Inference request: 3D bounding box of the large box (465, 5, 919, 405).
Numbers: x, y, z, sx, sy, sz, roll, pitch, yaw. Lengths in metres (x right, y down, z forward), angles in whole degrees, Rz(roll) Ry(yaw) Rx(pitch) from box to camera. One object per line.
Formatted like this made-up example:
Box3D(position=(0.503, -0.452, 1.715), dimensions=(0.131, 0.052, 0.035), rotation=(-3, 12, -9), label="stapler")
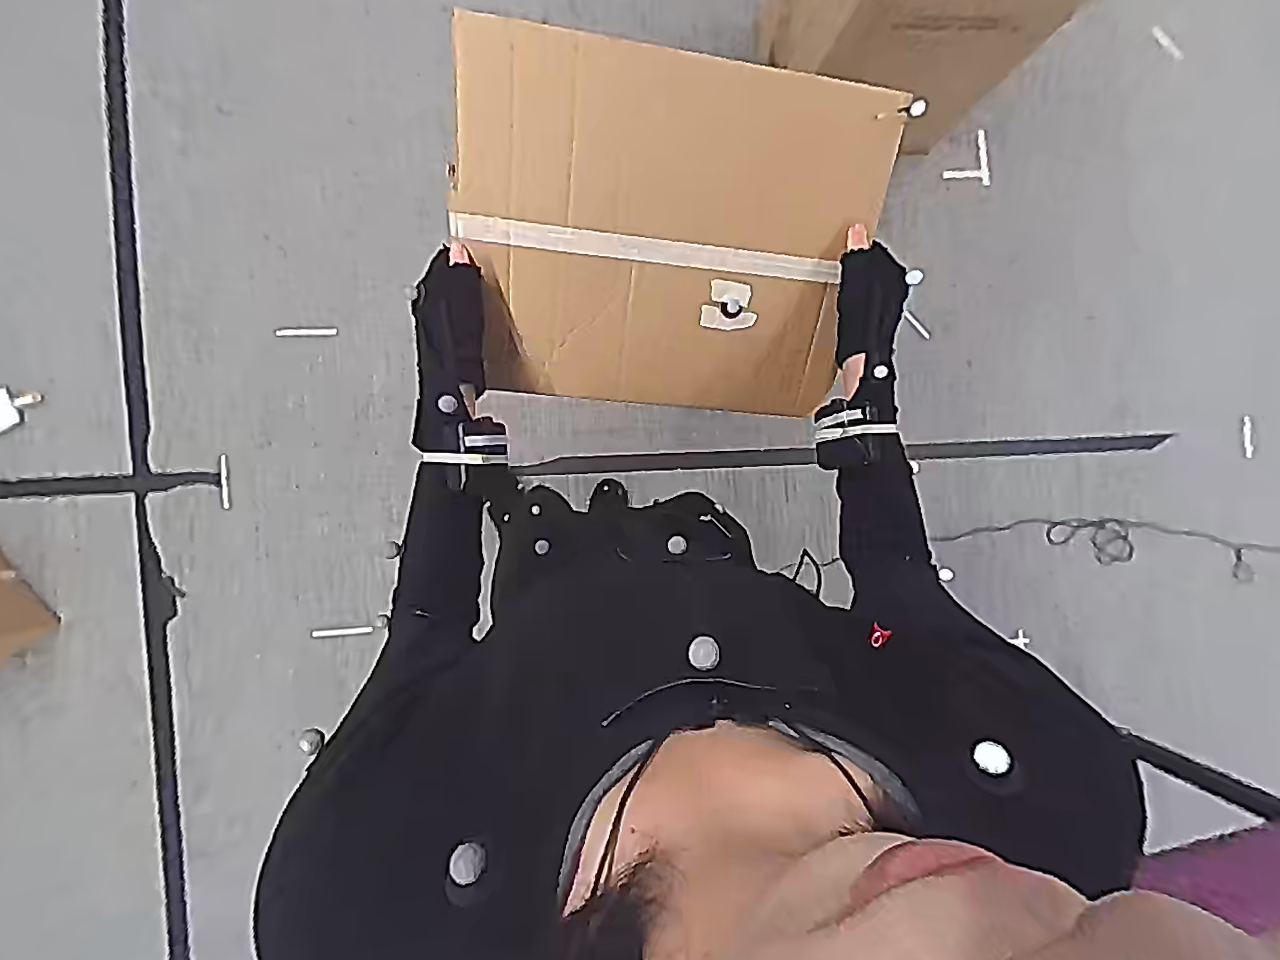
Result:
Box3D(position=(0.023, -0.295, 0.652), dimensions=(0.408, 0.320, 0.320), rotation=(3, 116, -9), label="large box")
